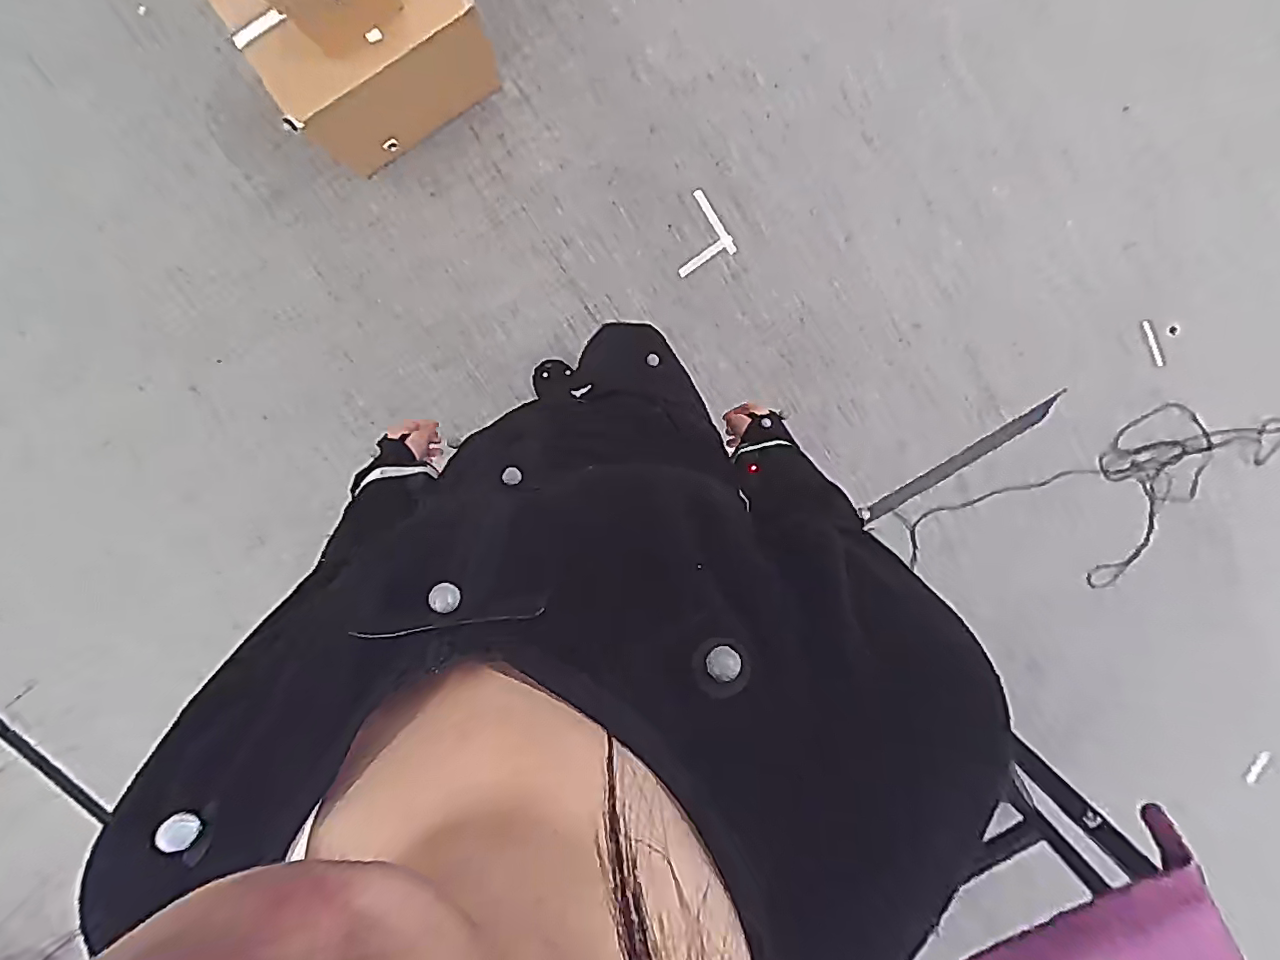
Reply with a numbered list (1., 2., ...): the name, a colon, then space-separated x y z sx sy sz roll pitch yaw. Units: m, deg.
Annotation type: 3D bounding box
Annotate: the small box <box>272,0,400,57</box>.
1. small box: -0.526 -0.844 0.873 0.179 0.176 0.168 -34 104 3
